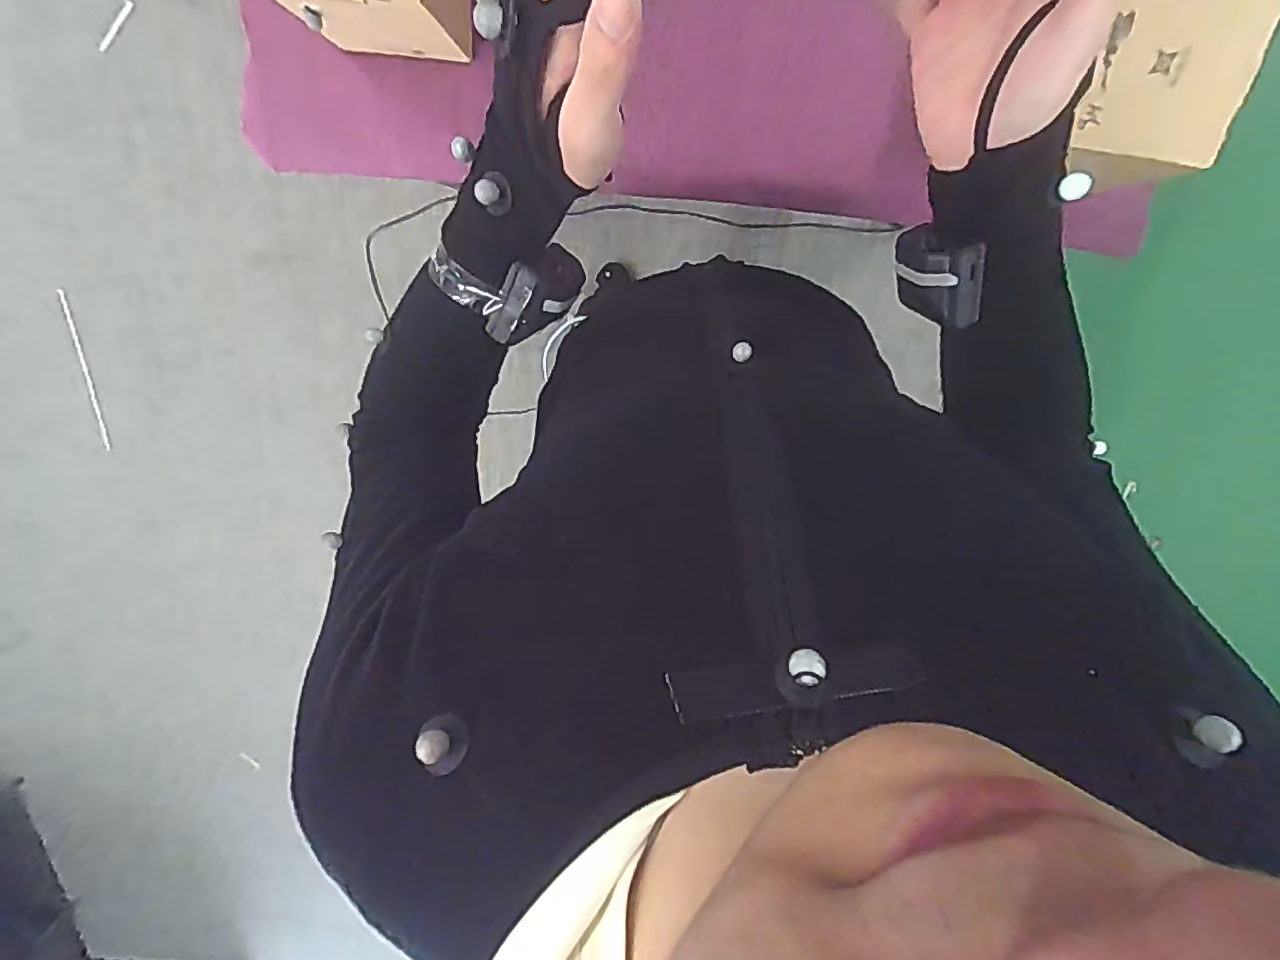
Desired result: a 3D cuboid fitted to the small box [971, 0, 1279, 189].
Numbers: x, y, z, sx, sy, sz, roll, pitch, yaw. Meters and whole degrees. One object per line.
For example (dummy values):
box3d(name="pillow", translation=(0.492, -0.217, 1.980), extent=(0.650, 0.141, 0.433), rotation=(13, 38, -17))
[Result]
box3d(name="small box", translation=(0.537, -0.450, 0.628), extent=(0.179, 0.176, 0.168), rotation=(8, 110, -2))
